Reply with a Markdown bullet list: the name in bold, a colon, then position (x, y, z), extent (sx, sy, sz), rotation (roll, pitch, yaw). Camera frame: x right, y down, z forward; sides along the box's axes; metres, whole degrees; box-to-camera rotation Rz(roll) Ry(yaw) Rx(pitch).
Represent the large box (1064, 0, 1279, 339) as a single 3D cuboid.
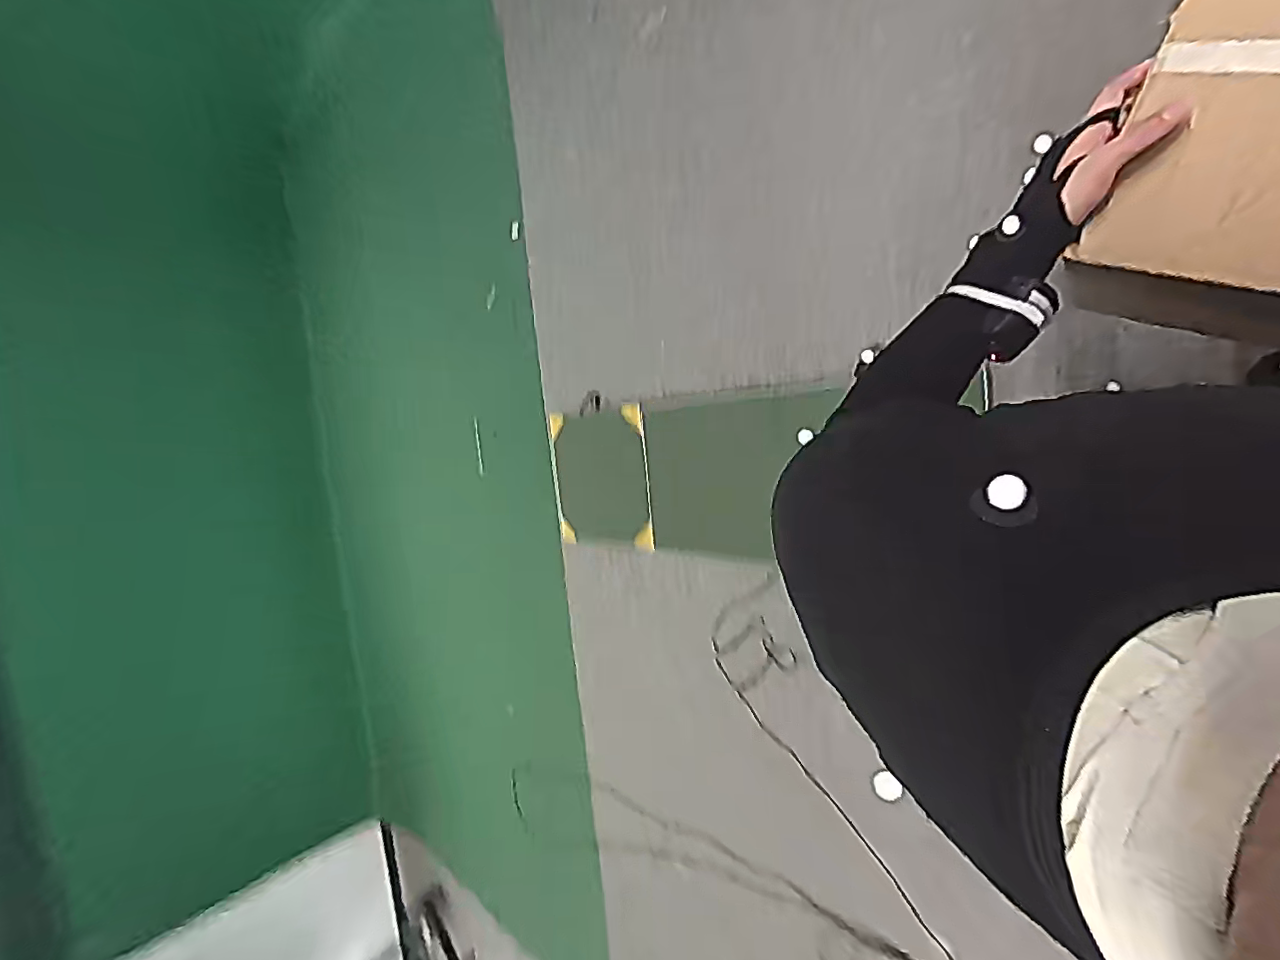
- **large box**: position (0.667, -0.293, 0.465), extent (0.408, 0.320, 0.320), rotation (27, 112, 33)
